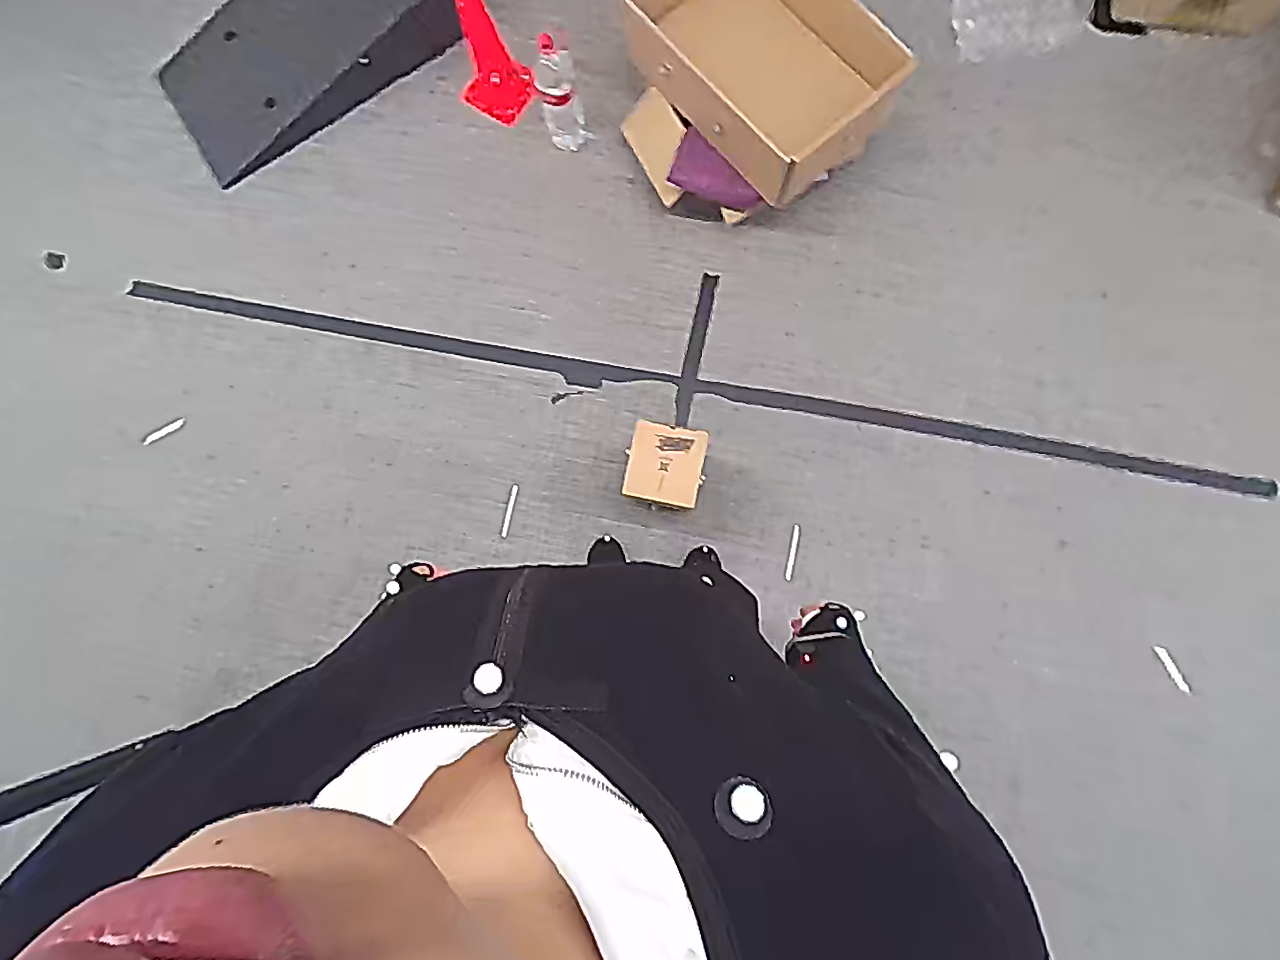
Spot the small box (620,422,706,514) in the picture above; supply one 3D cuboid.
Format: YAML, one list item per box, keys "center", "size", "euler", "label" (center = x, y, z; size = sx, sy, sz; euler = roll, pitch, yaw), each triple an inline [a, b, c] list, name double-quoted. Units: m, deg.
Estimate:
- center: [0.054, -0.023, 1.286]
  size: [0.168, 0.176, 0.179]
  euler: [12, 85, 4]
  label: "small box"
